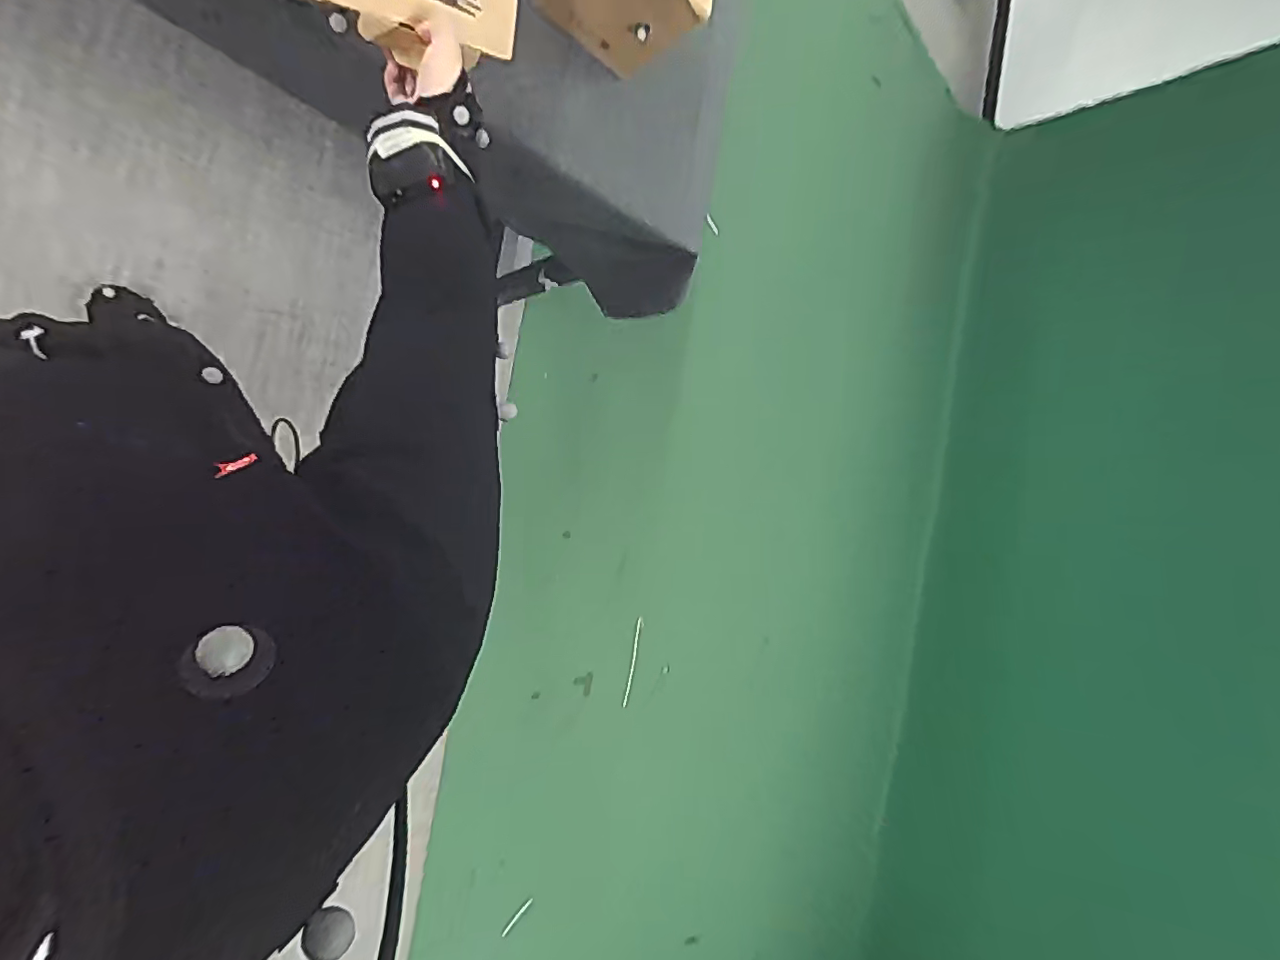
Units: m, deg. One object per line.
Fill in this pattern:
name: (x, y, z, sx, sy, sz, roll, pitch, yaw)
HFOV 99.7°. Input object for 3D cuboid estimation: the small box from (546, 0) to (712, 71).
small box: (-0.015, -0.673, 0.678, 0.168, 0.176, 0.179, 9, 87, -43)
